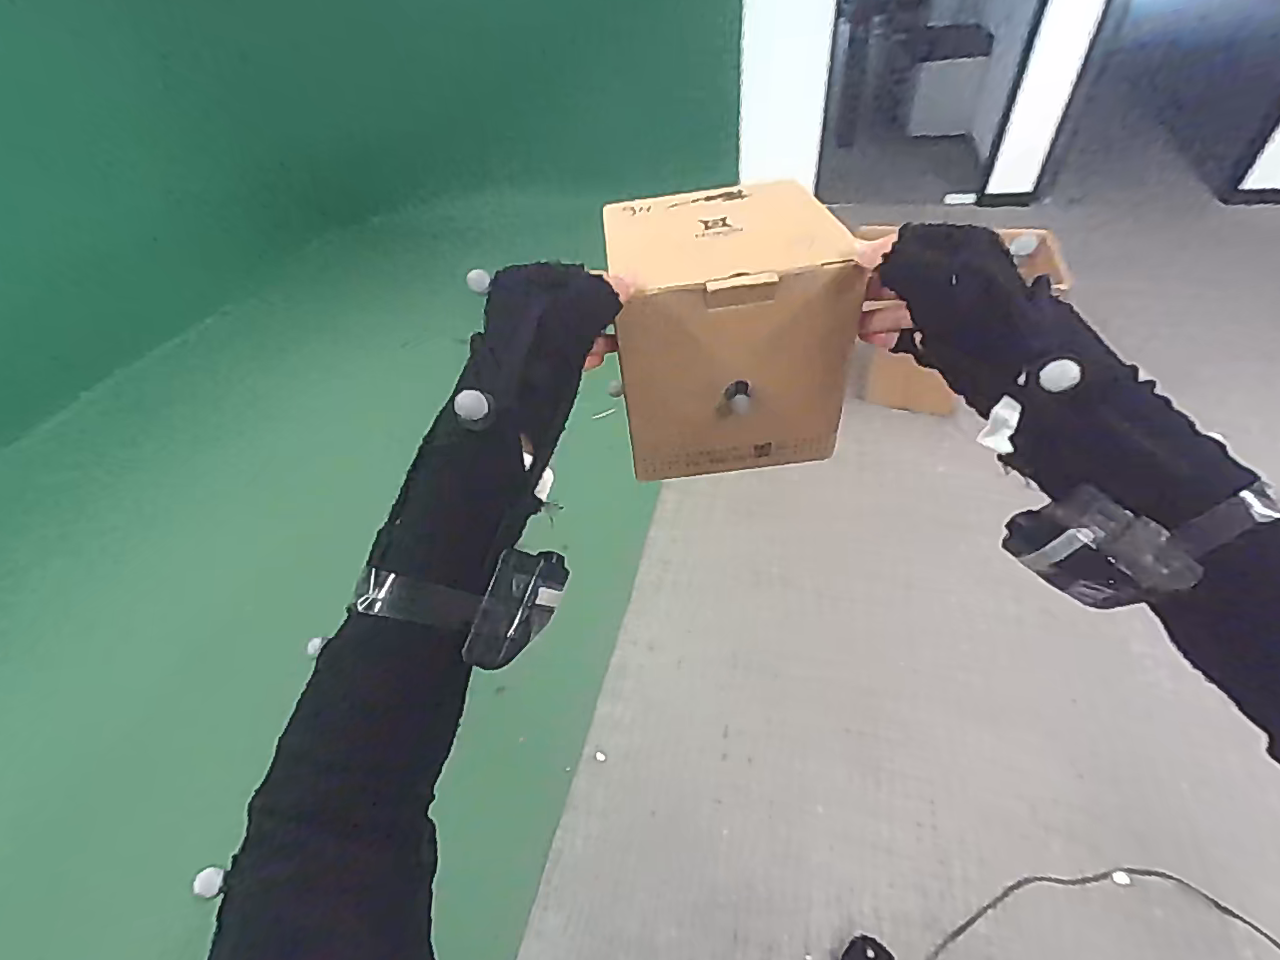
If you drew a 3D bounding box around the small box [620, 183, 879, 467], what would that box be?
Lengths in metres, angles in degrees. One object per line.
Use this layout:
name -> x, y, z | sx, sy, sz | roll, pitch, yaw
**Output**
small box -> 0.076, -0.124, 0.456 | 0.168, 0.176, 0.179 | -6, 44, 2
